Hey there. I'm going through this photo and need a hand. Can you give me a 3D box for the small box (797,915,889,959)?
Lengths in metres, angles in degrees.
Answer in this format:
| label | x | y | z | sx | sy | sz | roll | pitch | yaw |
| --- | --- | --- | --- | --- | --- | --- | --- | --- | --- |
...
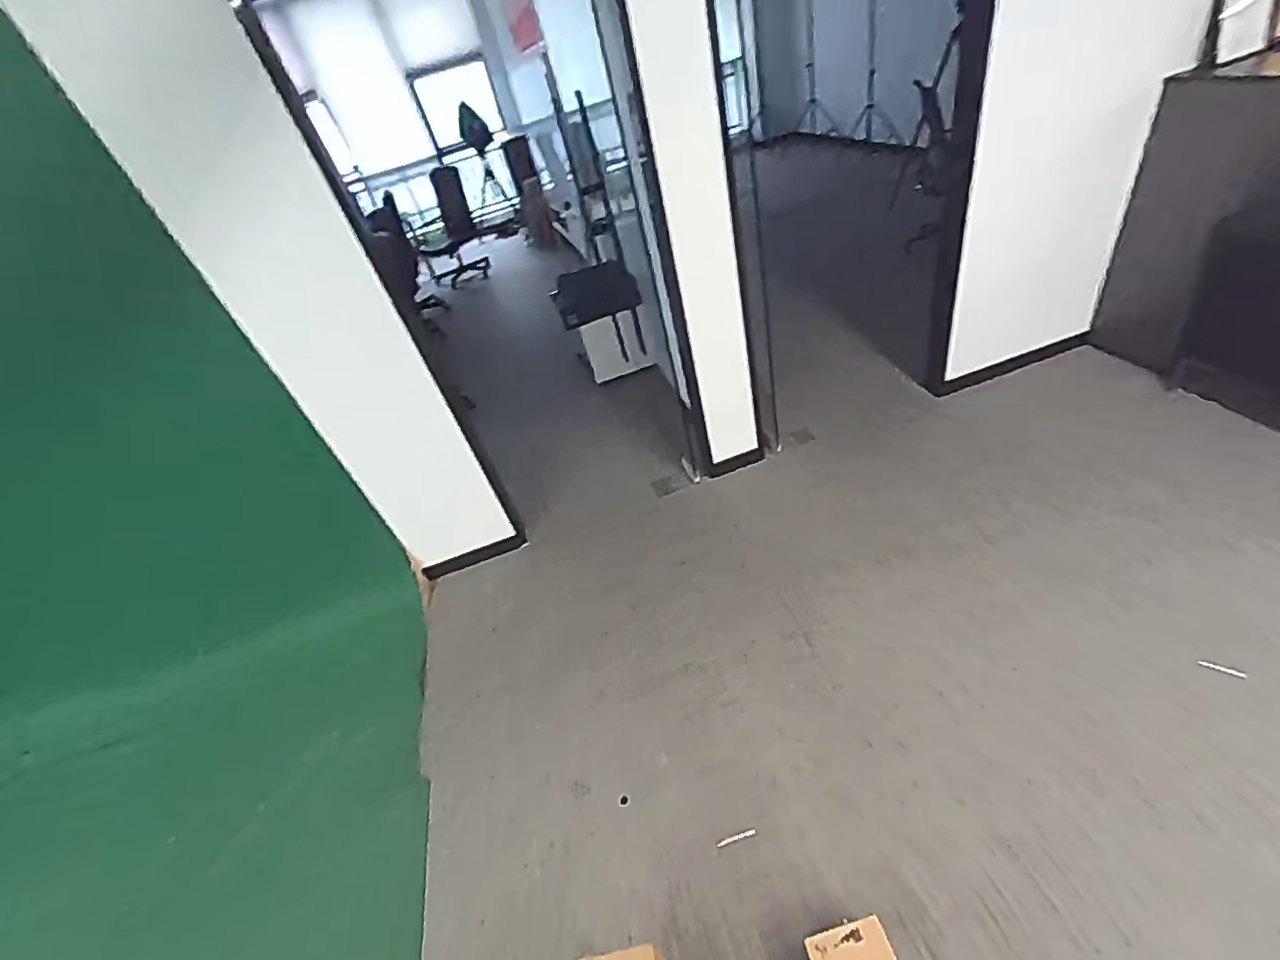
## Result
| label | x | y | z | sx | sy | sz | roll | pitch | yaw |
| --- | --- | --- | --- | --- | --- | --- | --- | --- | --- |
| small box | 0.442 | 1.050 | 1.123 | 0.168 | 0.176 | 0.179 | -17 | 39 | -1 |
